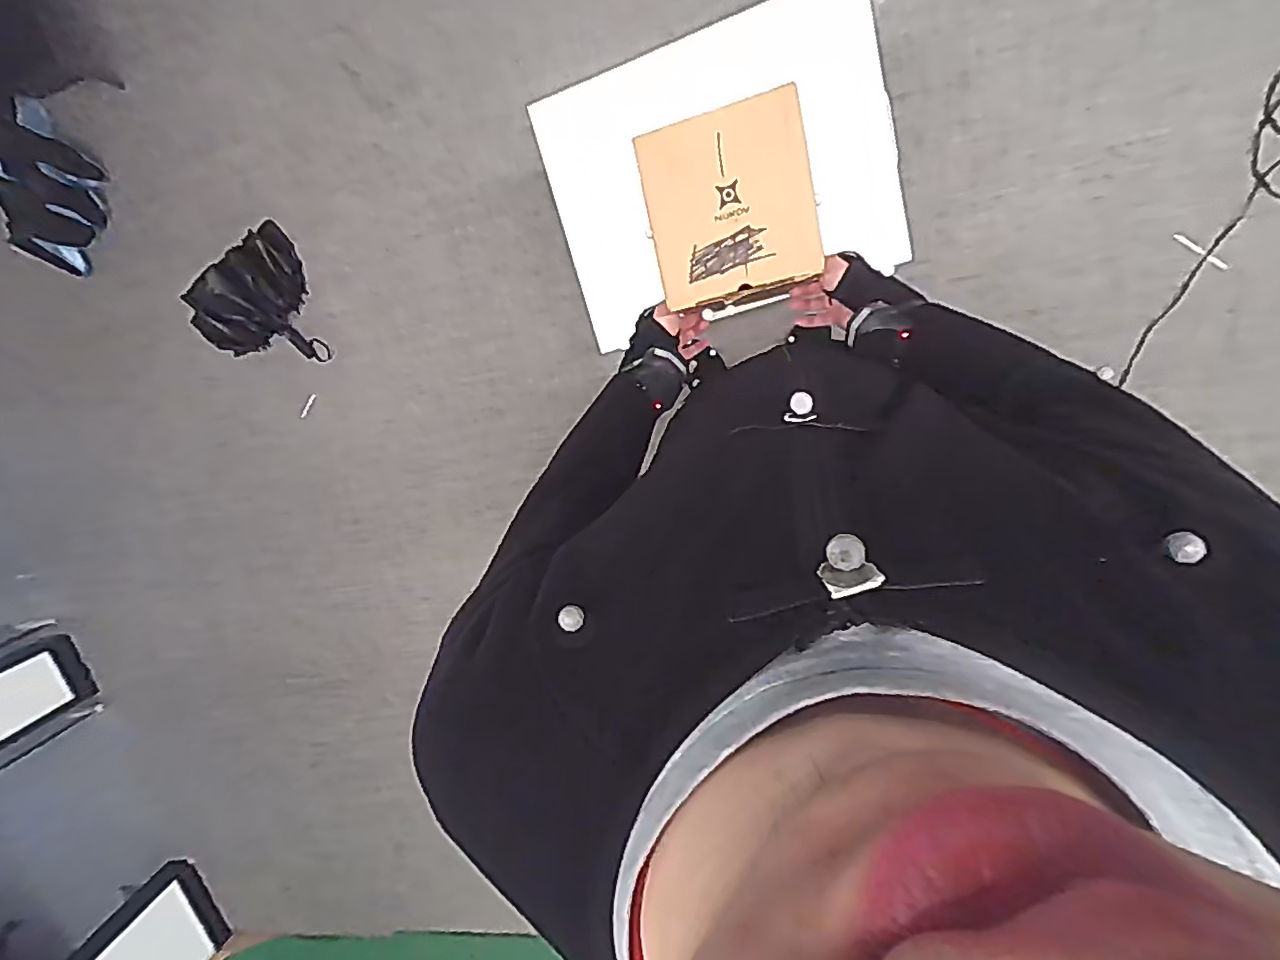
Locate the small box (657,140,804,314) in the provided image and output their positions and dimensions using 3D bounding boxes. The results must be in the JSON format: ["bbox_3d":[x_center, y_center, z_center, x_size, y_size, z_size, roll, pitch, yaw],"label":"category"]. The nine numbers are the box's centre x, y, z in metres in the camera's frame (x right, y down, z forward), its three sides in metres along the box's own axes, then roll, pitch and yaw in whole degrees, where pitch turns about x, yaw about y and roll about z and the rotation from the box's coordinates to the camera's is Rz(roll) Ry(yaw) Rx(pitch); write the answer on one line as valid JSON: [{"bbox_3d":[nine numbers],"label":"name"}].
[{"bbox_3d":[0.131,-0.345,0.776,0.168,0.176,0.179,-11,104,14],"label":"small box"}]
